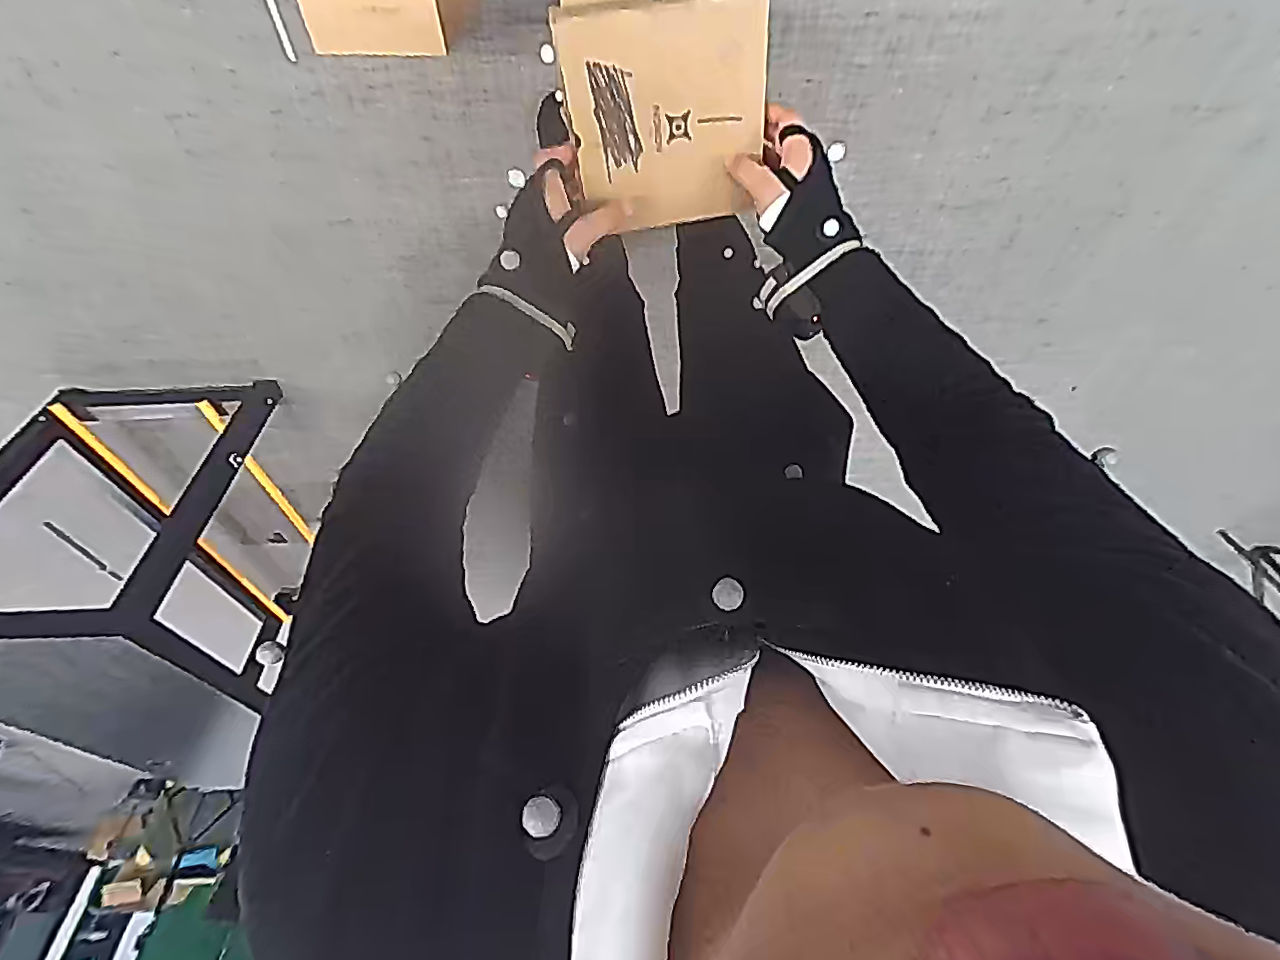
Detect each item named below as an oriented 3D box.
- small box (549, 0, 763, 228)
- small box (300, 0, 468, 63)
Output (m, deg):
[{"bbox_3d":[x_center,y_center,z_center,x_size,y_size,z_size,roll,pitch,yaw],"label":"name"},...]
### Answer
[{"bbox_3d":[0.011,-0.376,0.544,0.179,0.176,0.168,-10,135,-2],"label":"small box"},{"bbox_3d":[-0.327,-0.652,0.678,0.168,0.176,0.179,-1,141,-2],"label":"small box"}]
